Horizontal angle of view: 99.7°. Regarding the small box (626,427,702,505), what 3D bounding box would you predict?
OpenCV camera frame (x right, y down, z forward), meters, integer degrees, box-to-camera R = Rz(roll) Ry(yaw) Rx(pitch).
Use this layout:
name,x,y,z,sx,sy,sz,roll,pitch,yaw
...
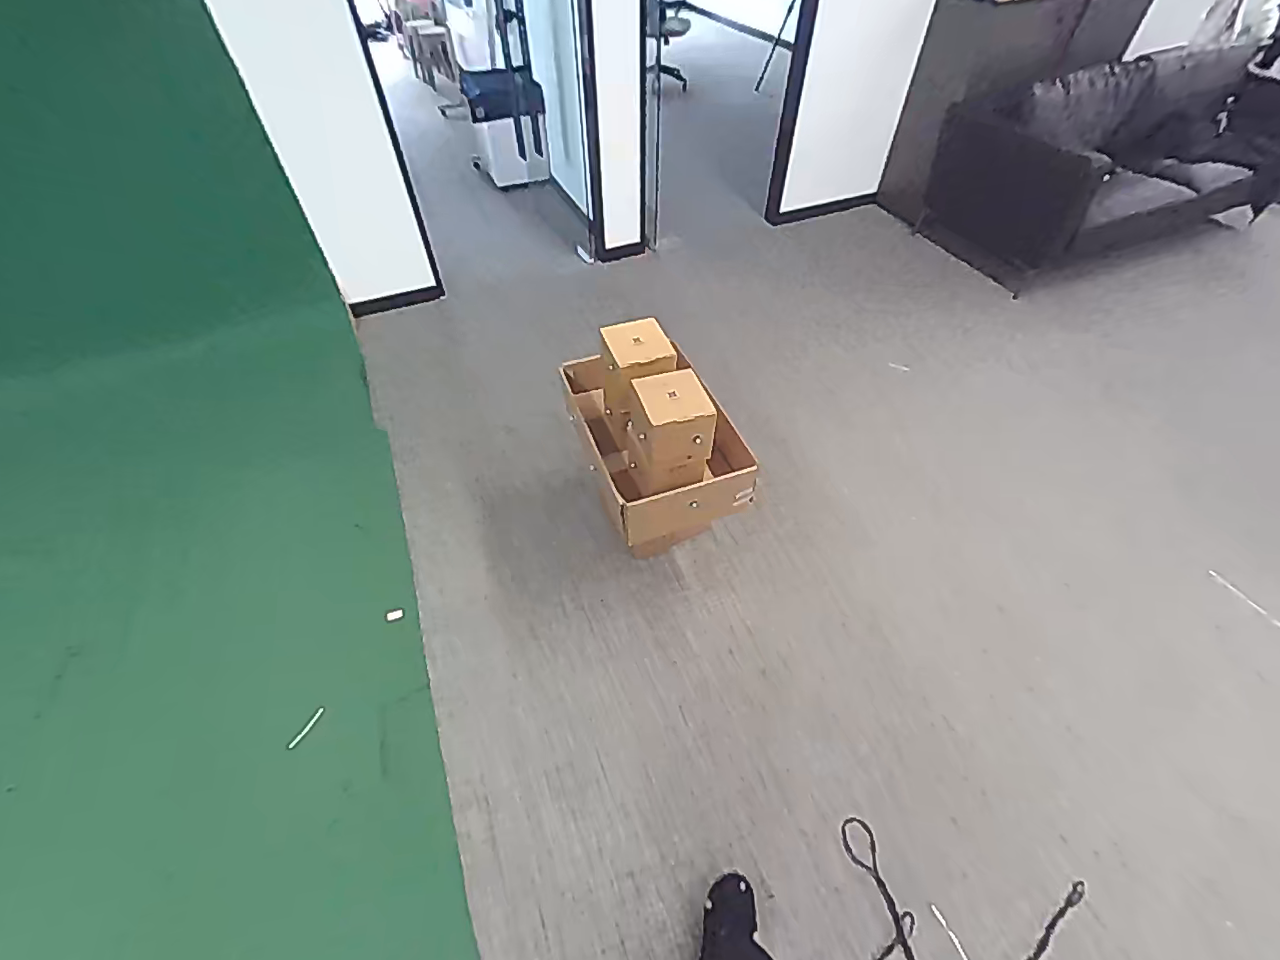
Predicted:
name,x,y,z,sx,sy,sz,roll,pitch,yaw
small box,0.067,-0.048,1.508,0.168,0.176,0.179,-15,50,-13

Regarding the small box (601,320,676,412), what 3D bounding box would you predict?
name,x,y,z,sx,sy,sz,roll,pitch,yaw
small box,-0.009,-0.322,1.531,0.168,0.176,0.179,-15,53,-13

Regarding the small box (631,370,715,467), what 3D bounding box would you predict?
name,x,y,z,sx,sy,sz,roll,pitch,yaw
small box,0.079,-0.149,1.381,0.168,0.176,0.179,-12,50,-12
